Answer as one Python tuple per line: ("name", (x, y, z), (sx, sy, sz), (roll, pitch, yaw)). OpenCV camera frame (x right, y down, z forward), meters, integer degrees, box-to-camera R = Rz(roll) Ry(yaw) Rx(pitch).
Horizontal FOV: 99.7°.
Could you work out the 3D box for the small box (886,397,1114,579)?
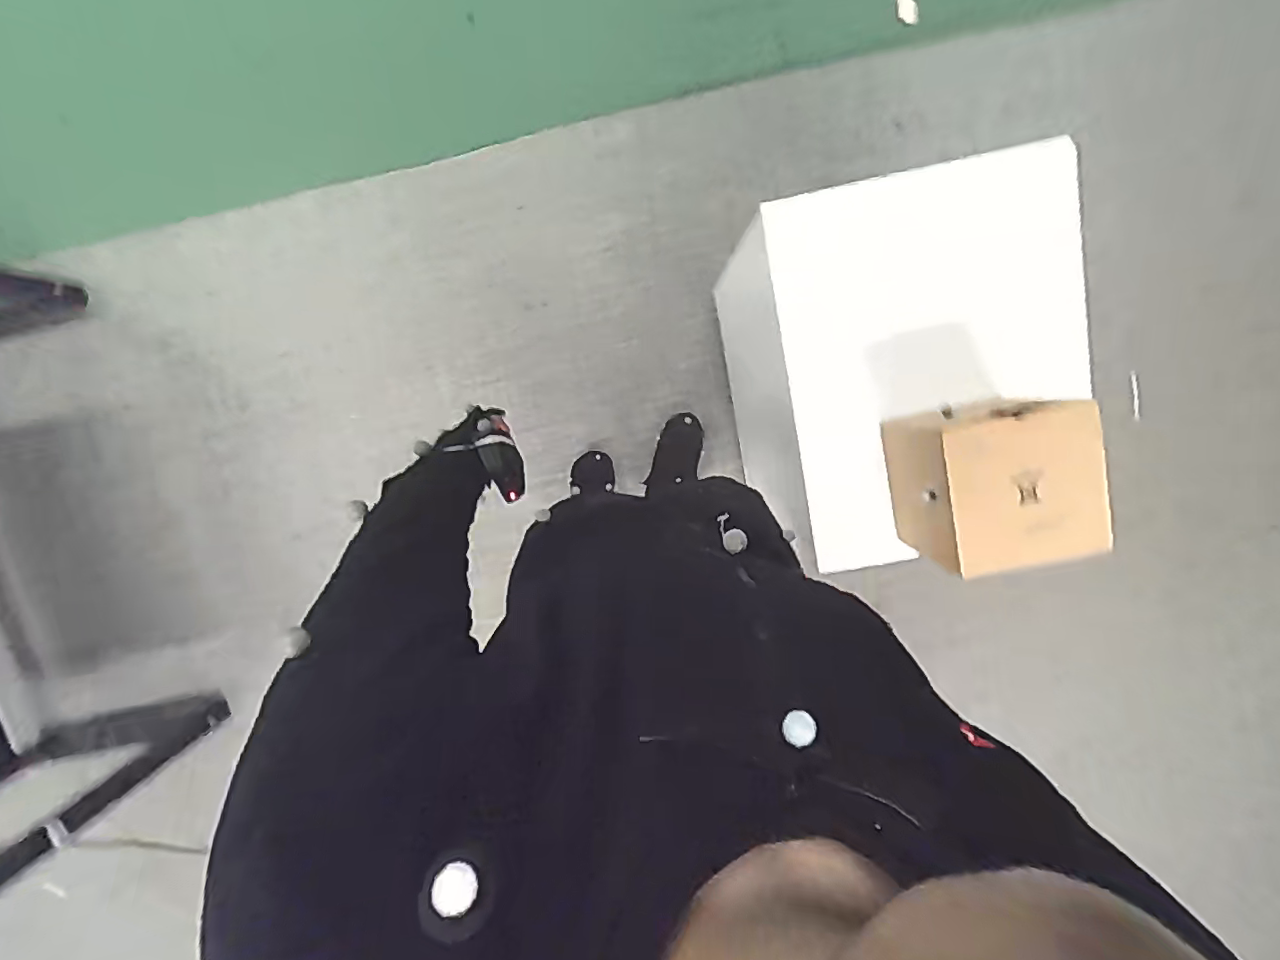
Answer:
("small box", (0.423, 0.001, 0.663), (0.168, 0.176, 0.179), (-12, 98, 4))
